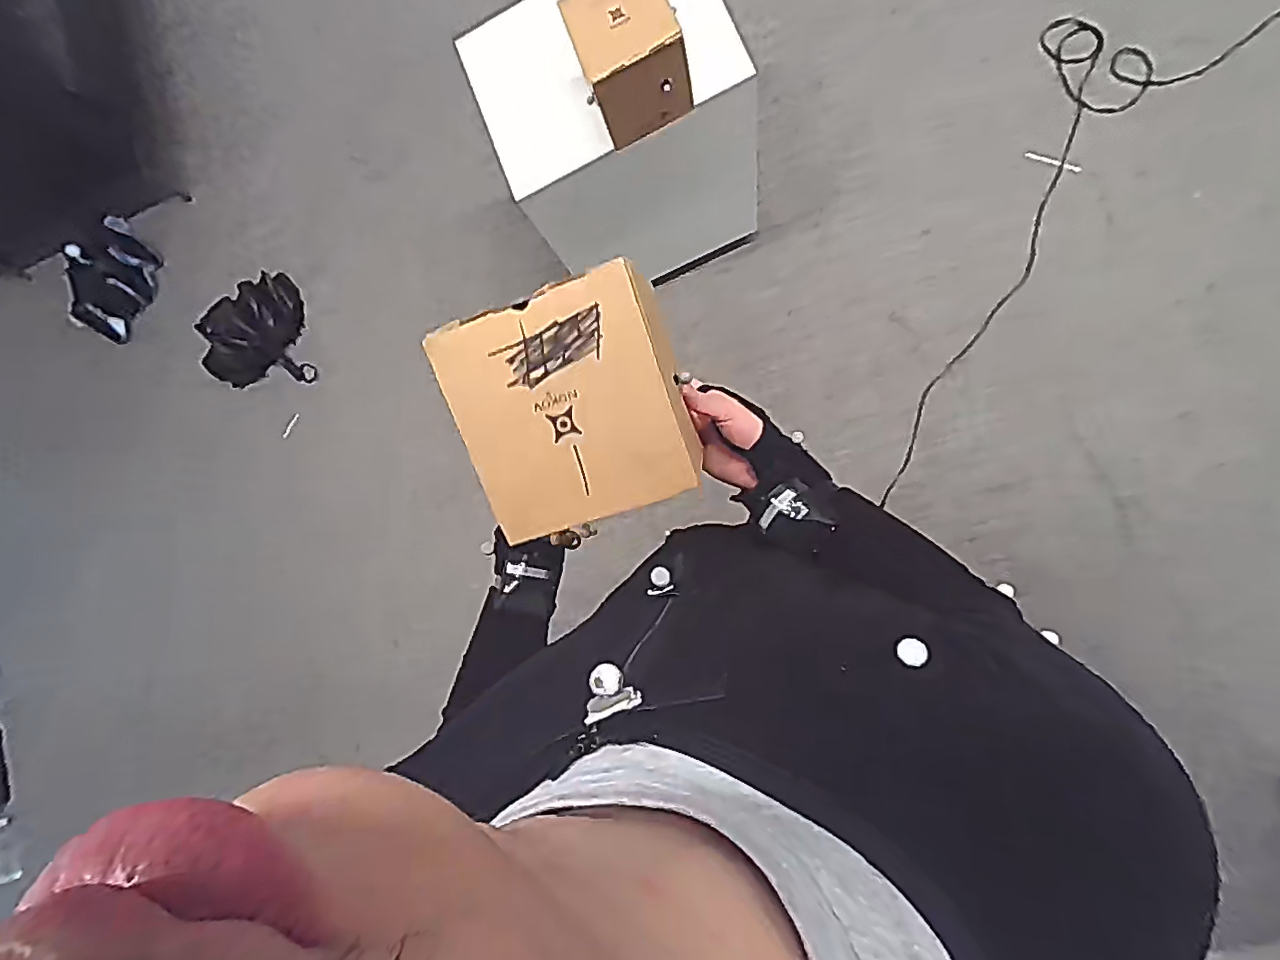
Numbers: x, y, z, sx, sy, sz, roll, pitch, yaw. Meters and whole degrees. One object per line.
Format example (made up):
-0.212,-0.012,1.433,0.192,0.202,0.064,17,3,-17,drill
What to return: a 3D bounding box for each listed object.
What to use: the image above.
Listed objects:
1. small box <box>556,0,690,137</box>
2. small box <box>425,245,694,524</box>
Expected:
-0.021,-0.752,0.957,0.168,0.176,0.179,-23,80,8,small box
-0.053,-0.082,0.487,0.168,0.176,0.179,-16,101,11,small box
